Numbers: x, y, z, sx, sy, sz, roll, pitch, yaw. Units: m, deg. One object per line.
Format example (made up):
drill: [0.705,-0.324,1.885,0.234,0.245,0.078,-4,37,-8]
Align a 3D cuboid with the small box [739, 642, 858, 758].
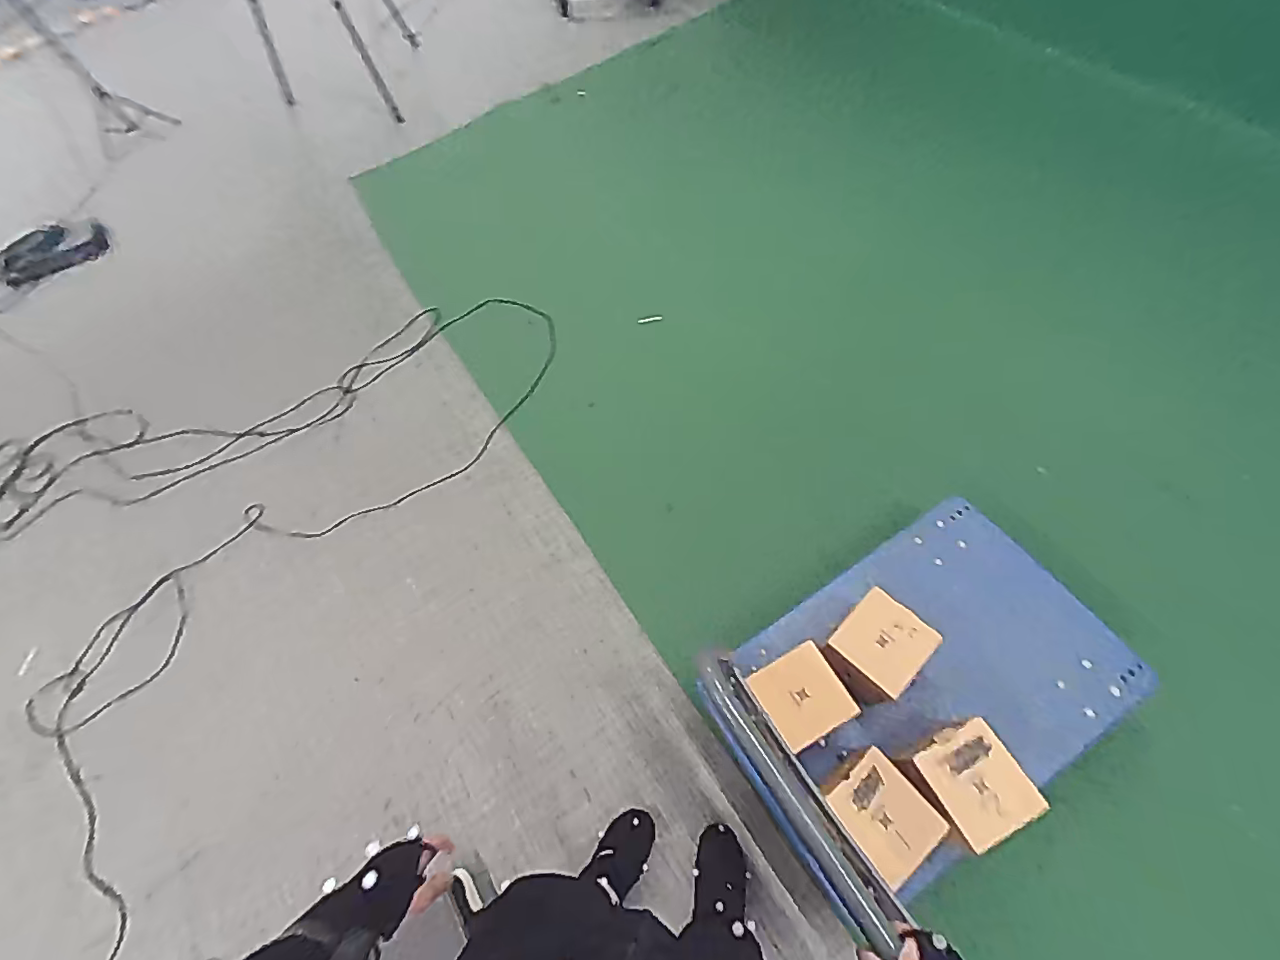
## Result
small box: [0.332,0.478,1.174,0.179,0.176,0.168,-28,64,-8]

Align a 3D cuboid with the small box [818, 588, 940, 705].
small box: [0.518,0.376,1.203,0.179,0.176,0.168,-42,66,-15]
